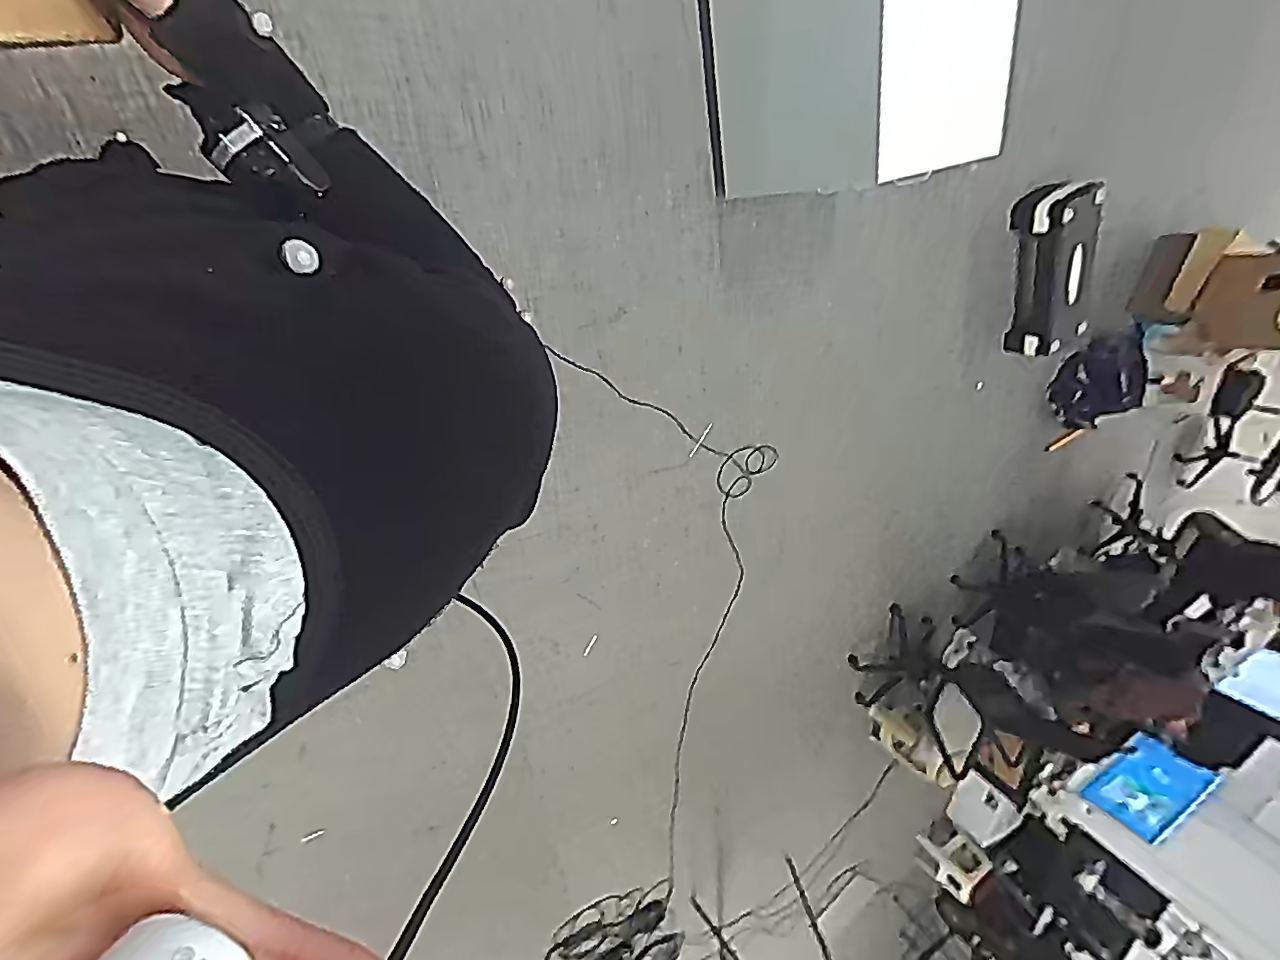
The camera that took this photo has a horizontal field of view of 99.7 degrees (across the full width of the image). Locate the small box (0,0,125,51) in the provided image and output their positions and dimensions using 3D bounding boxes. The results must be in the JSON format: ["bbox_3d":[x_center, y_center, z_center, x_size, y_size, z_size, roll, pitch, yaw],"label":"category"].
[{"bbox_3d":[-0.378,-0.279,0.214,0.168,0.176,0.179,-12,132,-10],"label":"small box"}]
